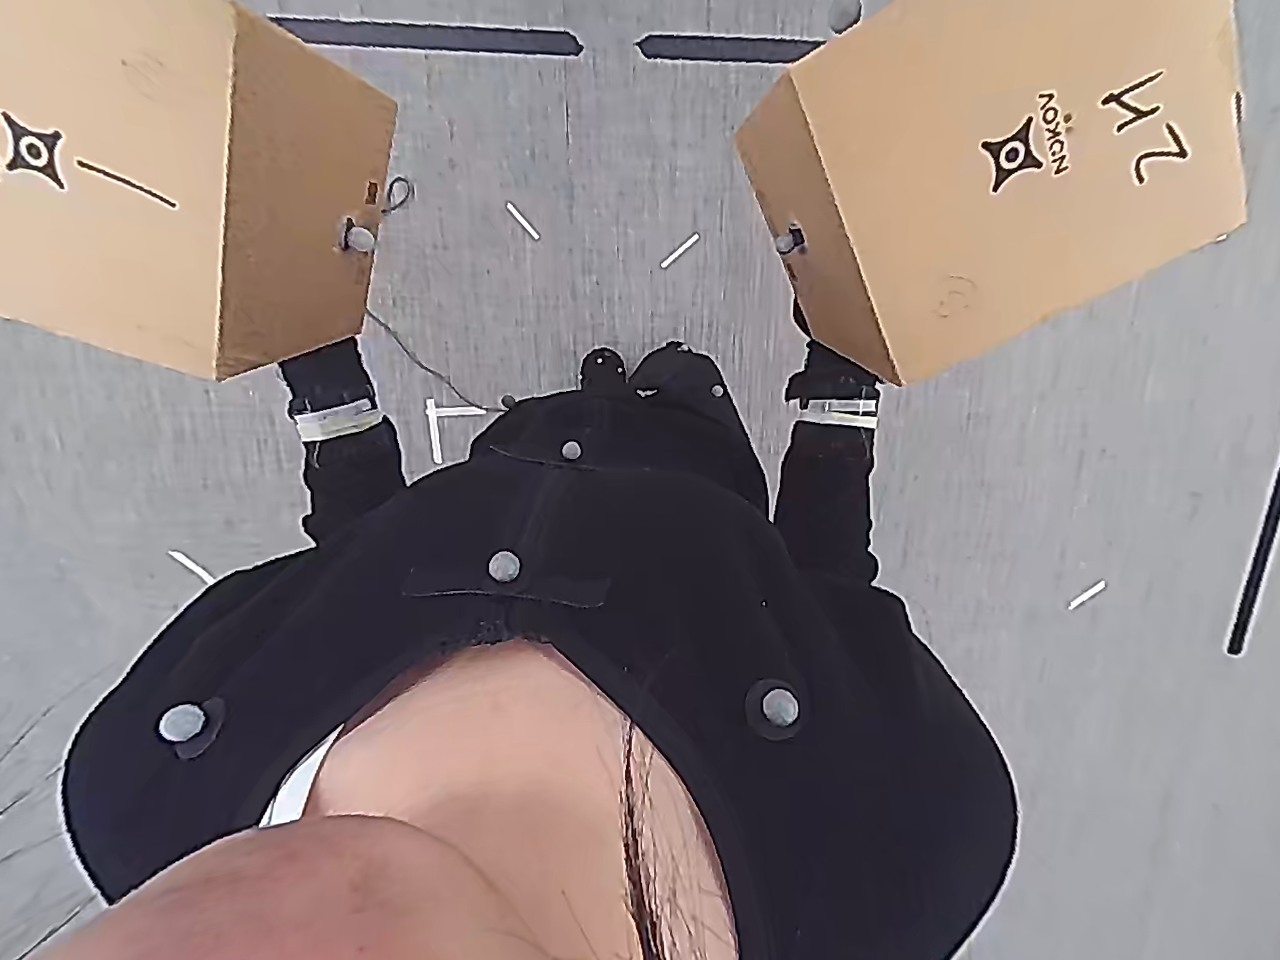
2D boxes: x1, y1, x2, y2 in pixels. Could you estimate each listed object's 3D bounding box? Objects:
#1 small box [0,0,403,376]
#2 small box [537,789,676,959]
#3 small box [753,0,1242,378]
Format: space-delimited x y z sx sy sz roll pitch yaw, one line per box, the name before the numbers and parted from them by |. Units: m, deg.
small box | -0.265 -0.180 0.307 0.179 0.176 0.168 18 113 -10
small box | -0.046 0.550 0.733 0.168 0.176 0.179 2 105 -2
small box | 0.180 -0.187 0.326 0.179 0.176 0.168 -26 111 11
